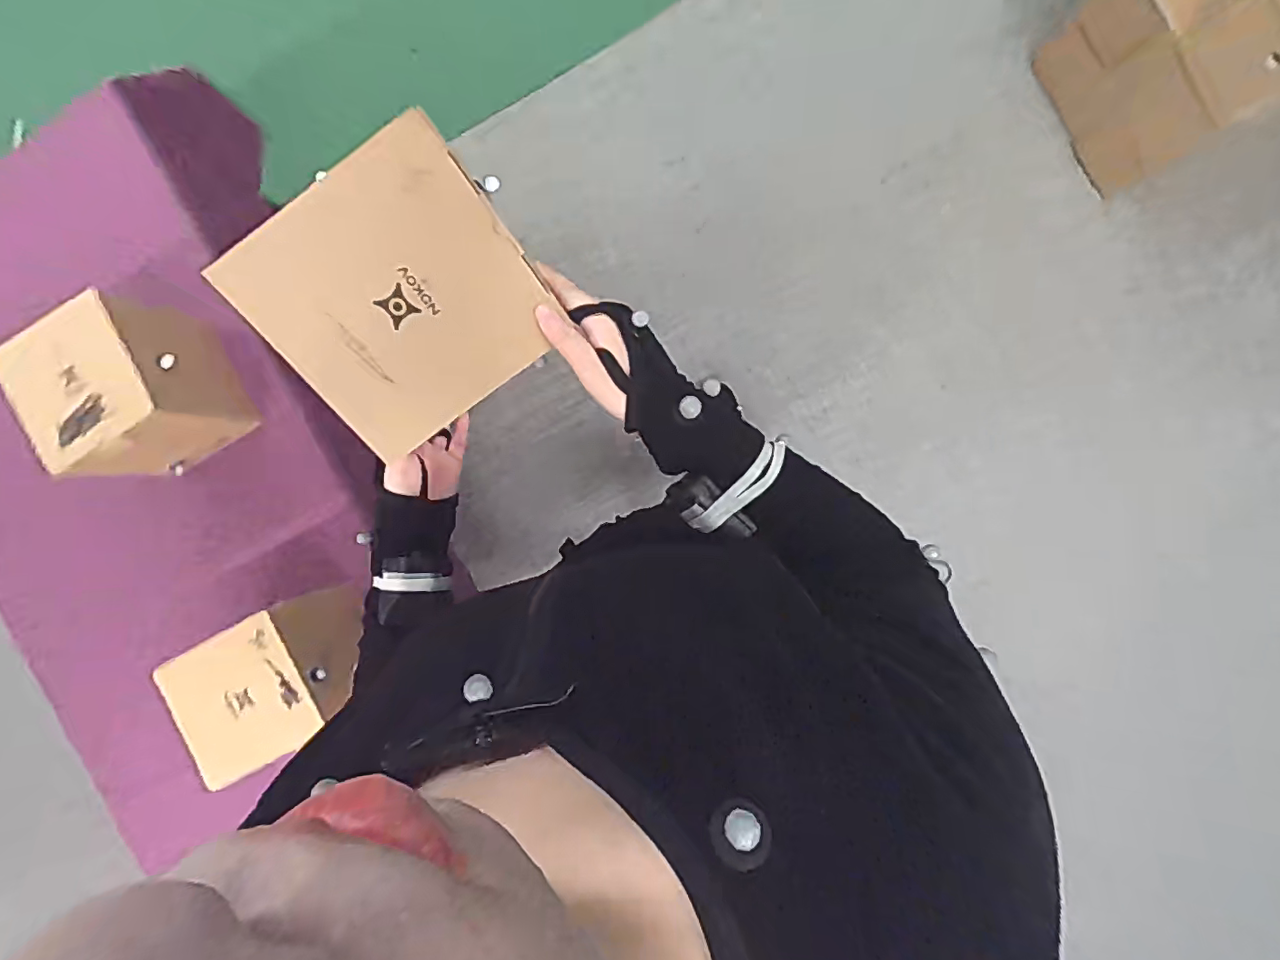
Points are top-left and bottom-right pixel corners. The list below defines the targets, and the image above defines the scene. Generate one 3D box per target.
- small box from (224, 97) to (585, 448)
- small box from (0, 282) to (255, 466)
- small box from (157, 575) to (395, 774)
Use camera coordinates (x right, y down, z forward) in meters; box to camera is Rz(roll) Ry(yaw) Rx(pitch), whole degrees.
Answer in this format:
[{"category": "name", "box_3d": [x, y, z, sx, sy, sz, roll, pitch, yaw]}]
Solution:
[{"category": "small box", "box_3d": [-0.165, -0.159, 0.441, 0.179, 0.176, 0.168, -33, 112, 5]}, {"category": "small box", "box_3d": [-0.685, -0.133, 0.742, 0.168, 0.176, 0.179, -28, 89, 5]}, {"category": "small box", "box_3d": [-0.480, 0.252, 0.739, 0.179, 0.176, 0.168, -27, 90, 6]}]
